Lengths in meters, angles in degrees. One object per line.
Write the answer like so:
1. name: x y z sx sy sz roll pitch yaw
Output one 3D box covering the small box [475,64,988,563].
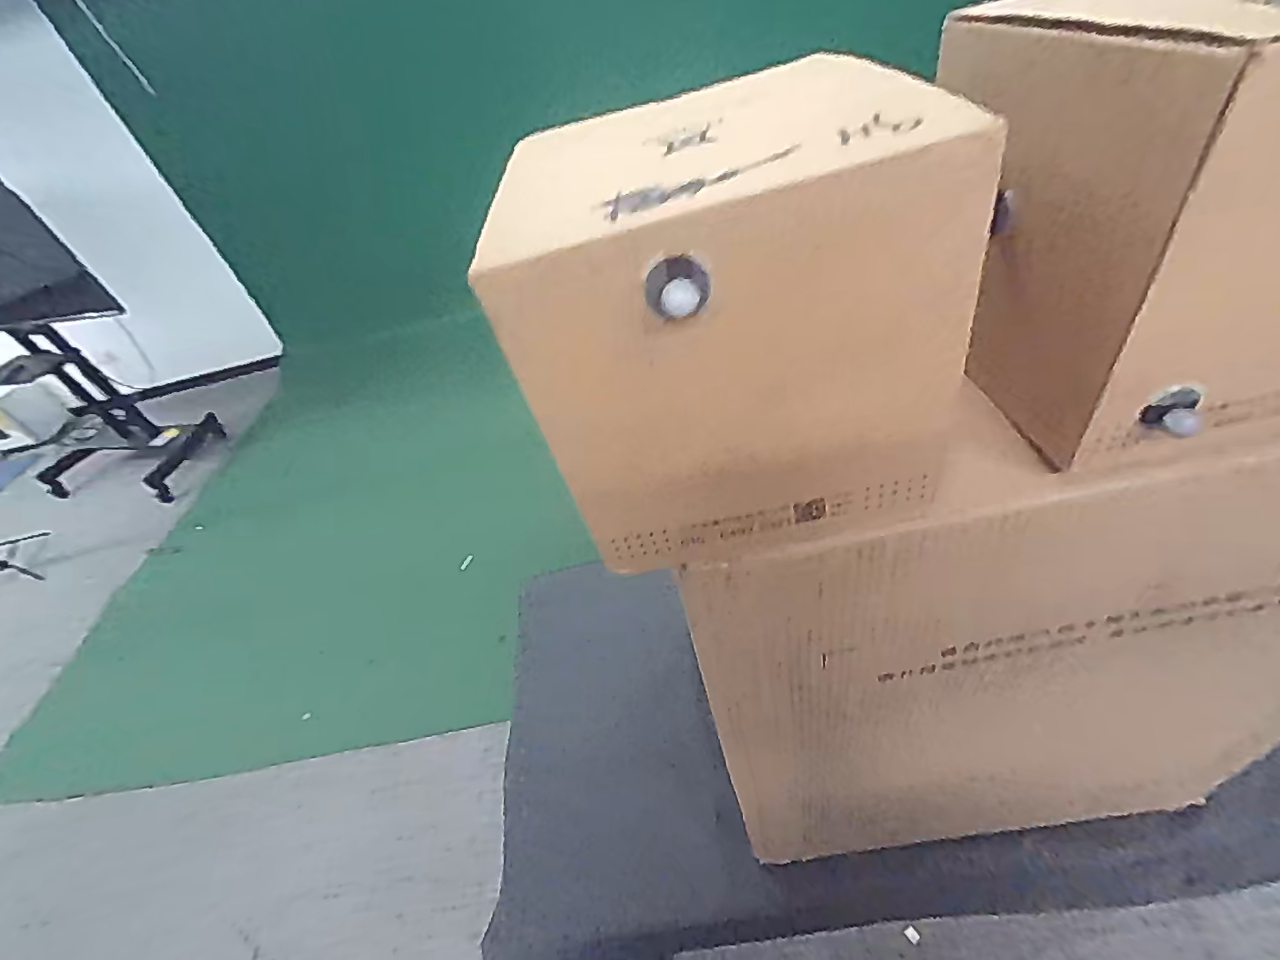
1. small box: 0.040 -0.085 0.282 0.168 0.176 0.179 -13 42 8
